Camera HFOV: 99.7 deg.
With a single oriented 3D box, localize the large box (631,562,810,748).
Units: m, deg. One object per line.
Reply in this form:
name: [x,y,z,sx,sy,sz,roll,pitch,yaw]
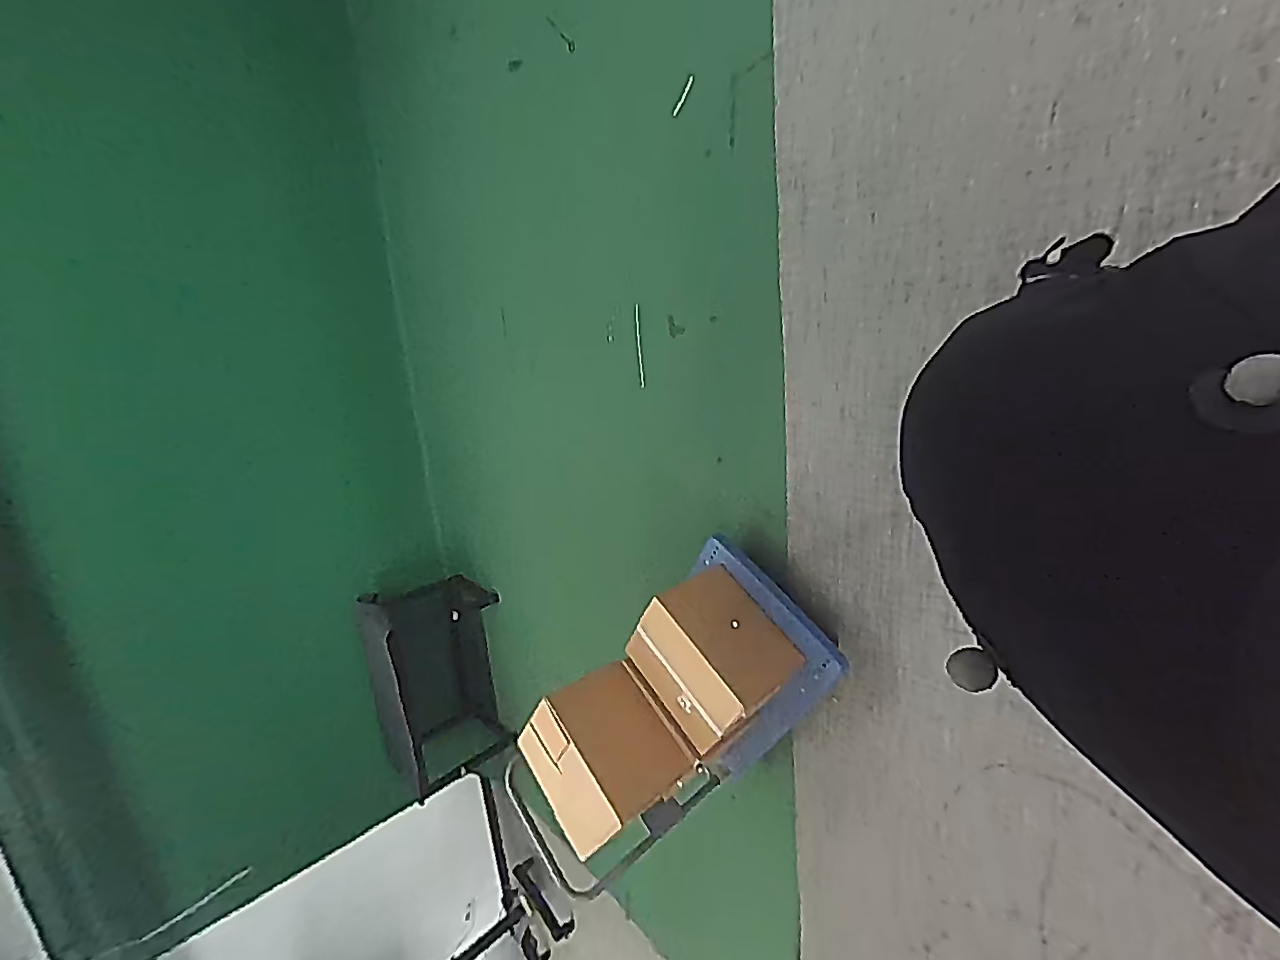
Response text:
large box: [0.244,0.538,1.720,0.408,0.320,0.320,47,134,27]
